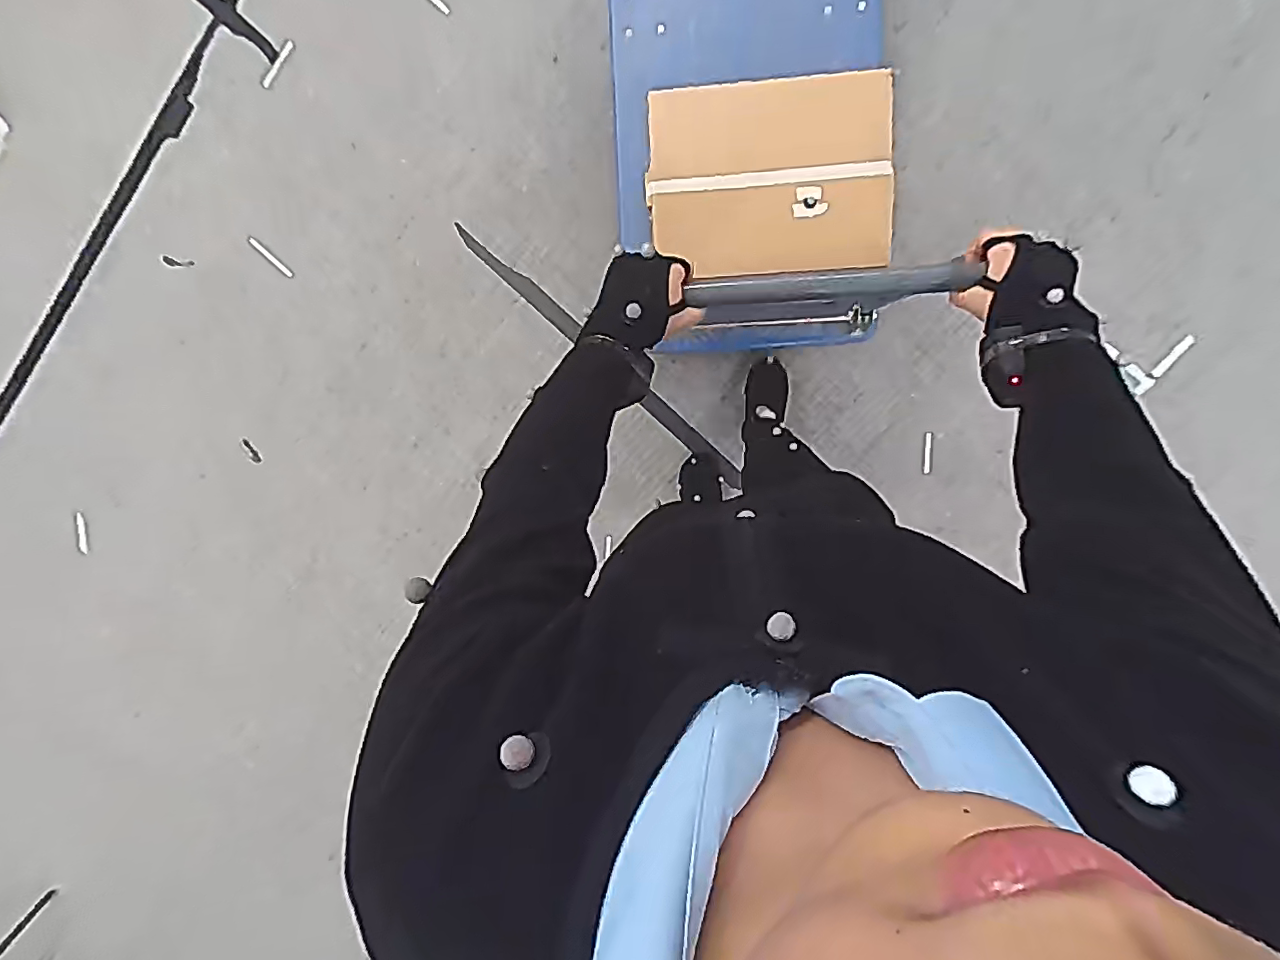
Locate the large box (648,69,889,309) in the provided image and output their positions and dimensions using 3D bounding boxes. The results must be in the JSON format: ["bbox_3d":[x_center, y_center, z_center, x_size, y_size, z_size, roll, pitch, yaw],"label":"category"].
[{"bbox_3d":[0.229,-0.536,1.072,0.408,0.320,0.320,-2,98,4],"label":"large box"}]
